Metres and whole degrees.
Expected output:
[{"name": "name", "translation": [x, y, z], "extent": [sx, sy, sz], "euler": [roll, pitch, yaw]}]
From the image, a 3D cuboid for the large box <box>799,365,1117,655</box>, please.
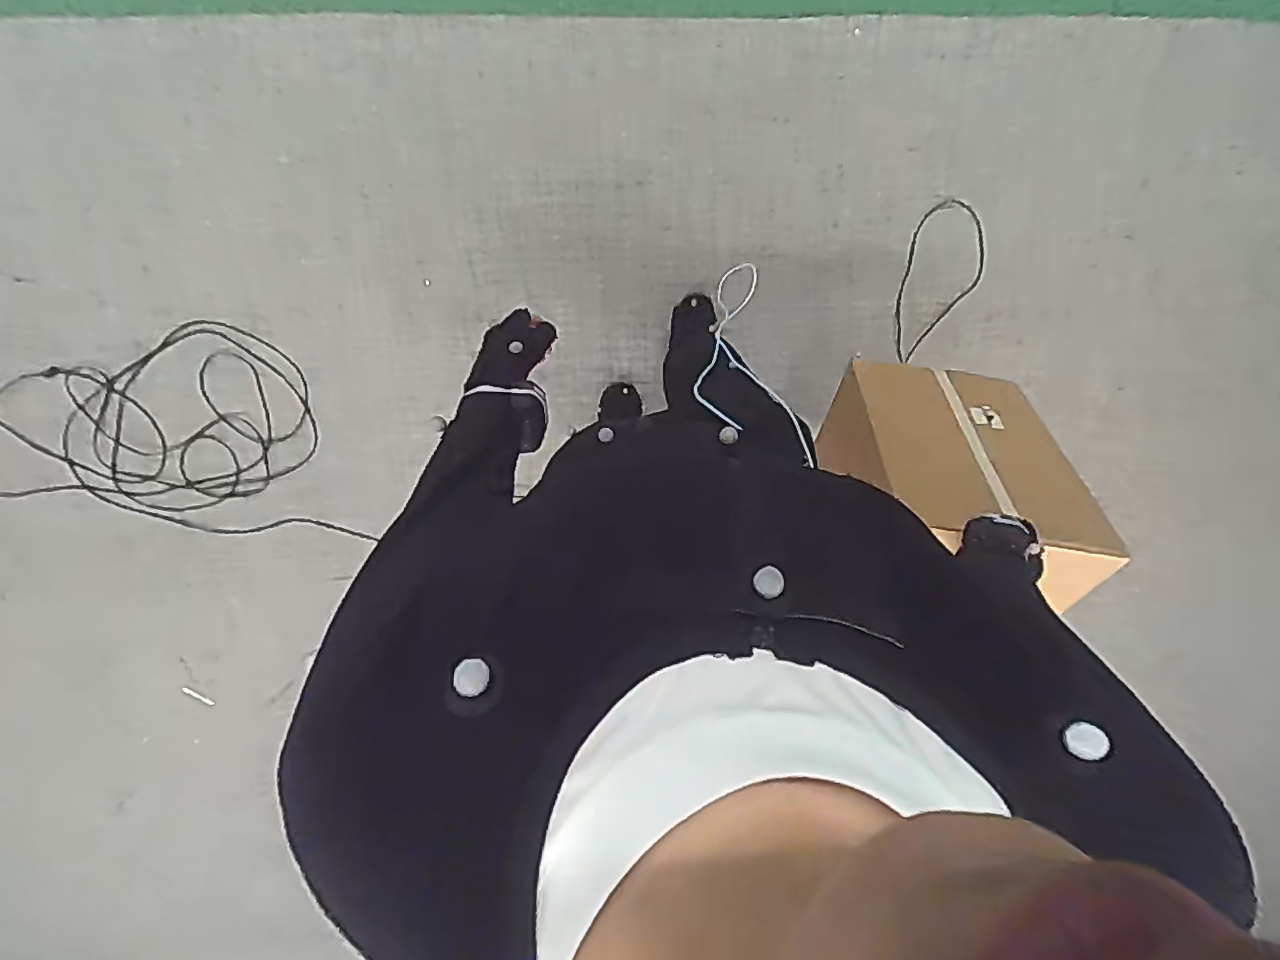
[{"name": "large box", "translation": [0.501, 0.050, 0.974], "extent": [0.320, 0.408, 0.320], "euler": [9, 135, -1]}]
